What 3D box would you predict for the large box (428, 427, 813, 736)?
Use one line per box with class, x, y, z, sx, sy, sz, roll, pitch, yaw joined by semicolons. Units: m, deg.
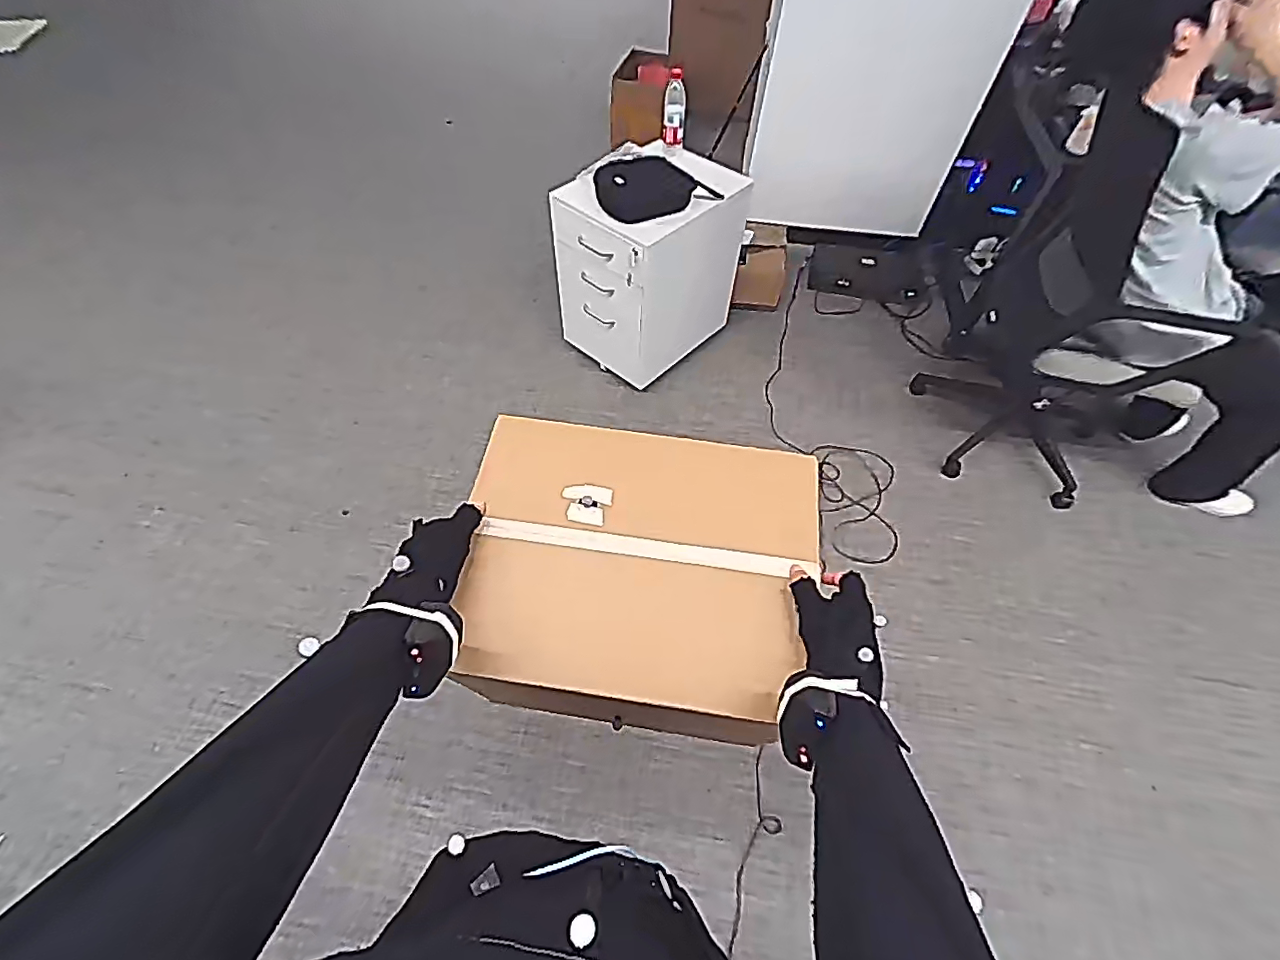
large box;-0.004;0.156;0.748;0.408;0.320;0.320;8;61;4
